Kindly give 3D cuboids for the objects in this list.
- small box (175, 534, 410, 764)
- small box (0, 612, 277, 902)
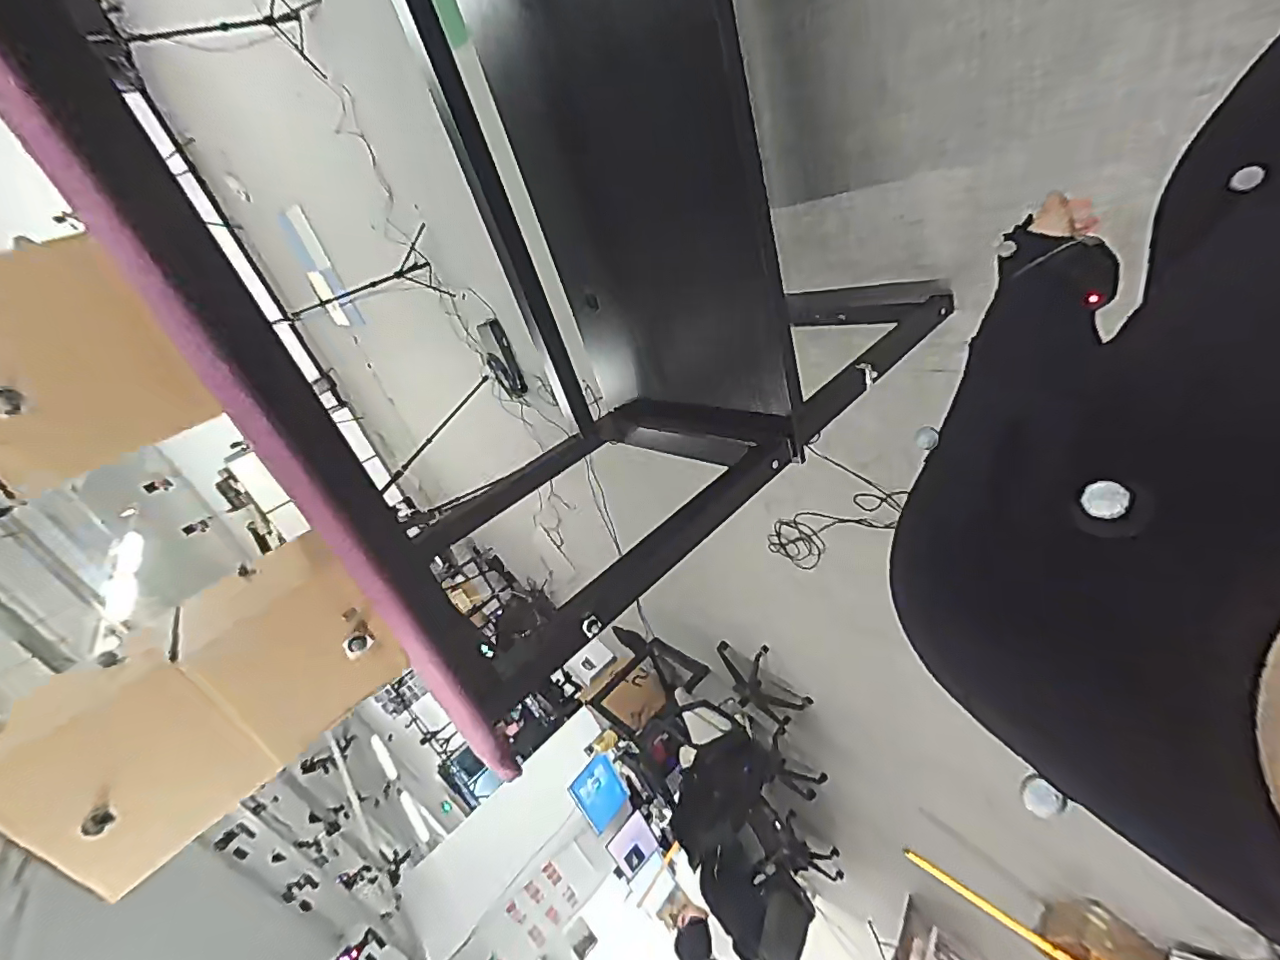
[{"bbox_3d":[-0.408,0.186,0.650,0.179,0.176,0.168,11,131,50],"label":"small box"},{"bbox_3d":[-0.524,0.277,0.576,0.168,0.176,0.179,11,131,51],"label":"small box"}]
